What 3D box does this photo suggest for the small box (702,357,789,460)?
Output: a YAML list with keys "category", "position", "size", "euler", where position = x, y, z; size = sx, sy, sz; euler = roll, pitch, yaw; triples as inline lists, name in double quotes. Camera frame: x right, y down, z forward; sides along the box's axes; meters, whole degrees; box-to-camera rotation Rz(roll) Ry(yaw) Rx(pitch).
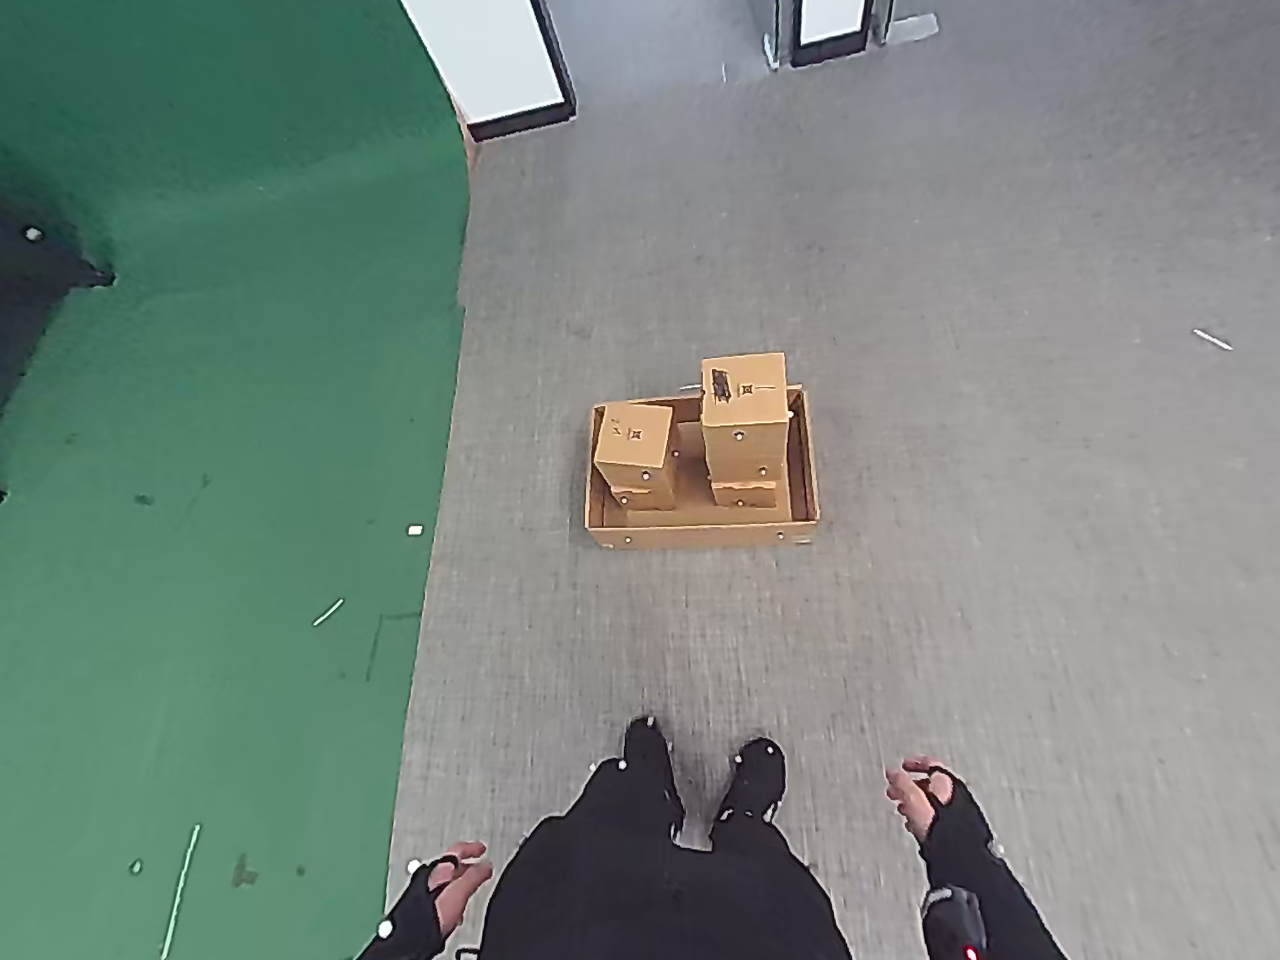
- category: "small box"
  position: [0.234, -0.150, 1.194]
  size: [0.179, 0.176, 0.168]
  euler: [-2, 69, 12]
